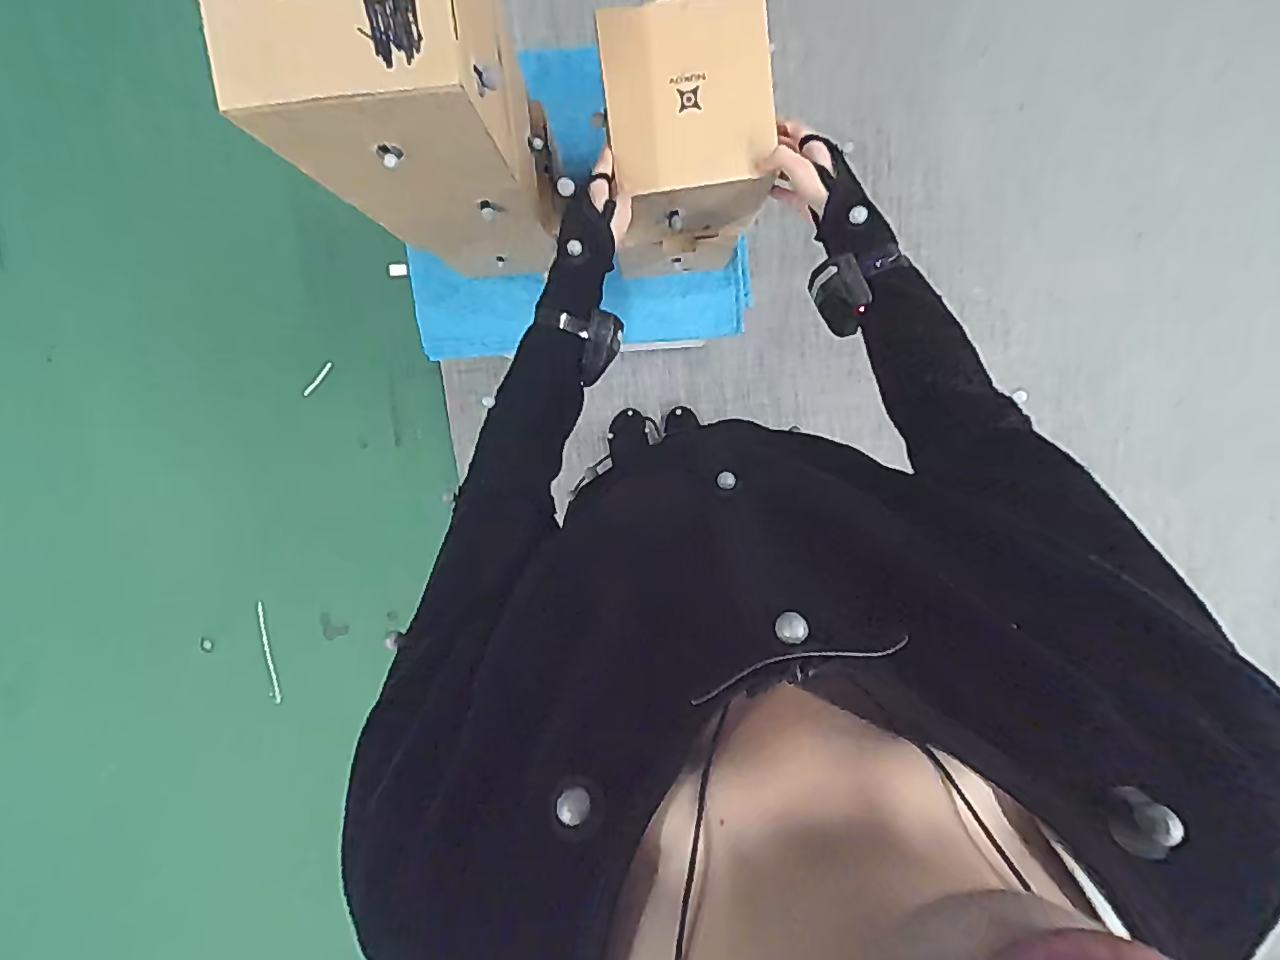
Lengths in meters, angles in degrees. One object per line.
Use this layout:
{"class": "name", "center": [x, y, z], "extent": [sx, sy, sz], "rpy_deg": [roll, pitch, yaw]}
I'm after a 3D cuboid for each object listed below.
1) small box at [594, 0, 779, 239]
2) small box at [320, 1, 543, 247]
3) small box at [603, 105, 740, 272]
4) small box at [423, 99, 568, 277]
{"class": "small box", "center": [0.049, -0.383, 0.599], "extent": [0.168, 0.176, 0.179], "rpy_deg": [-8, 96, 2]}
{"class": "small box", "center": [-0.210, -0.374, 0.599], "extent": [0.179, 0.176, 0.168], "rpy_deg": [-6, 97, 1]}
{"class": "small box", "center": [0.043, -0.402, 0.761], "extent": [0.168, 0.176, 0.179], "rpy_deg": [-5, 97, 1]}
{"class": "small box", "center": [-0.200, -0.396, 0.762], "extent": [0.179, 0.176, 0.168], "rpy_deg": [-6, 97, 1]}
